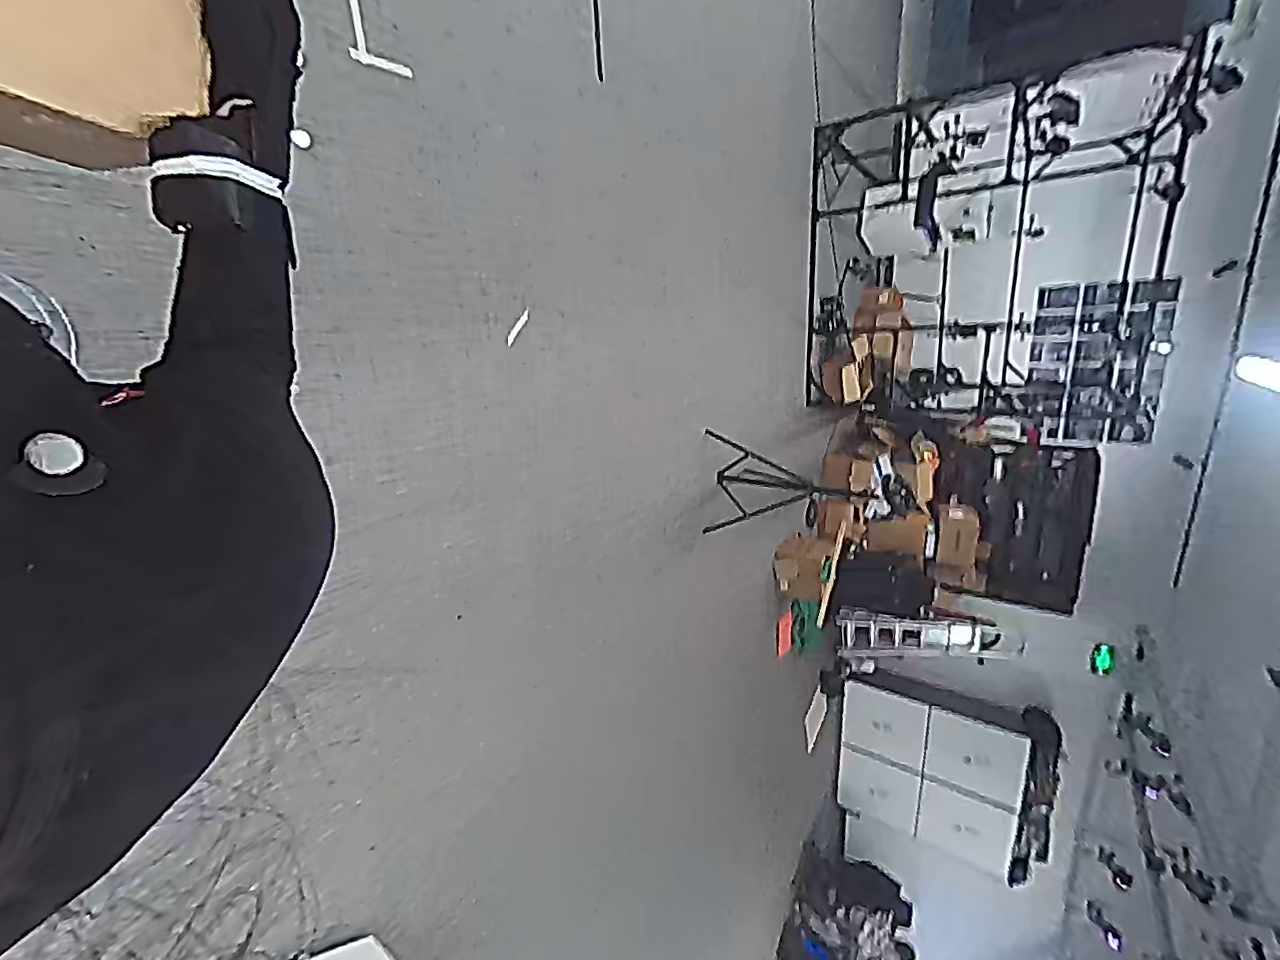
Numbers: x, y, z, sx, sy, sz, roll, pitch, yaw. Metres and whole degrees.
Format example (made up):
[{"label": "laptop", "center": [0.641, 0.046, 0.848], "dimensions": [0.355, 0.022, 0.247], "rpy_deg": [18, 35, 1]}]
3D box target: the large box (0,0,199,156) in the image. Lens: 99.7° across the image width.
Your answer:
[{"label": "large box", "center": [-0.543, -0.426, 0.296], "dimensions": [0.408, 0.320, 0.320], "rpy_deg": [-7, 113, -56]}]
